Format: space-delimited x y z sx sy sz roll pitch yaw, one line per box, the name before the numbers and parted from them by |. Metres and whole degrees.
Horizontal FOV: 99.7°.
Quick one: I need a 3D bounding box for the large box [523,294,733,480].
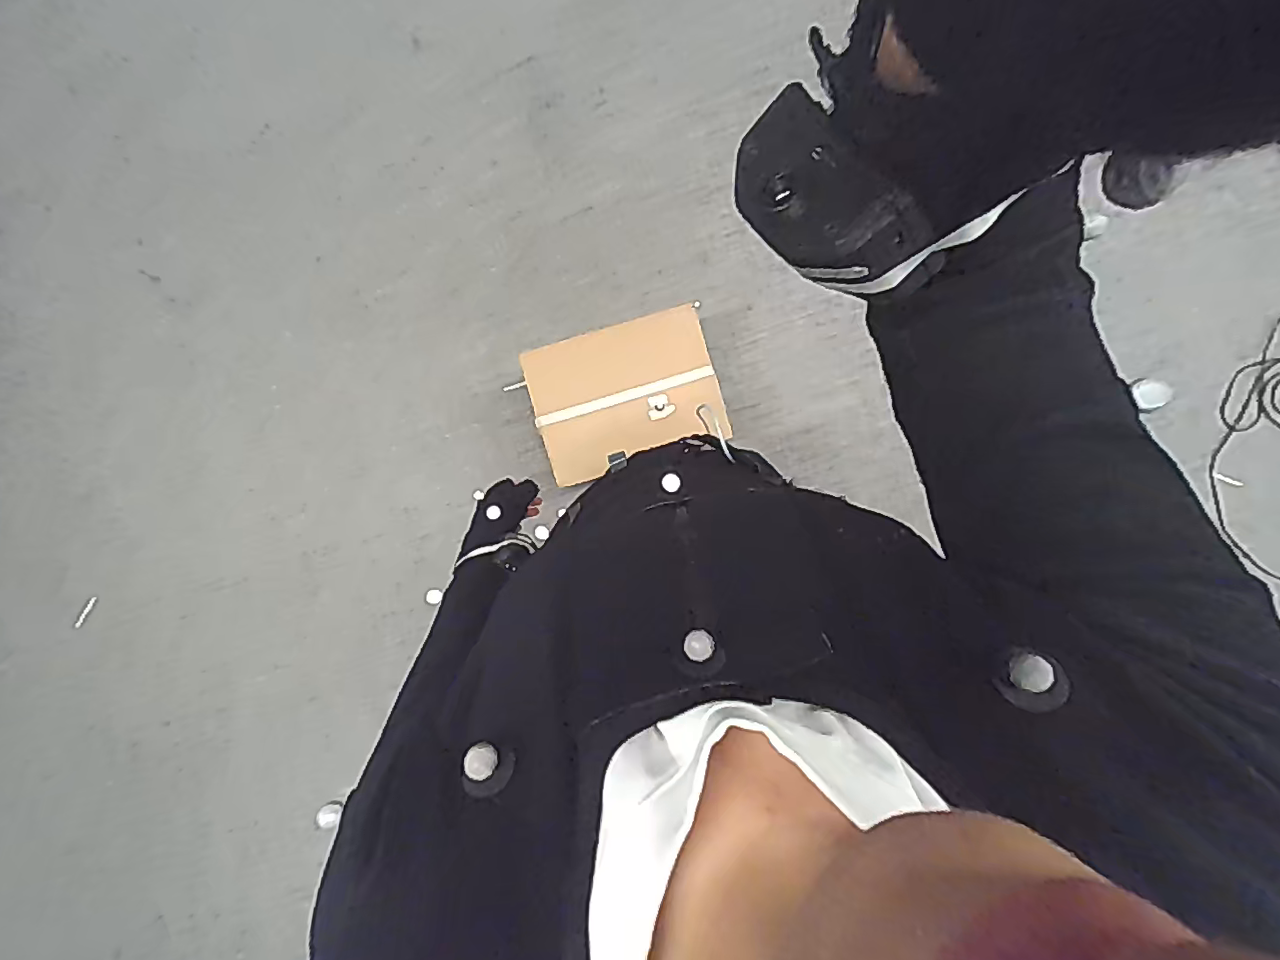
large box | -0.025 -0.205 1.330 0.408 0.320 0.320 -16 92 1
